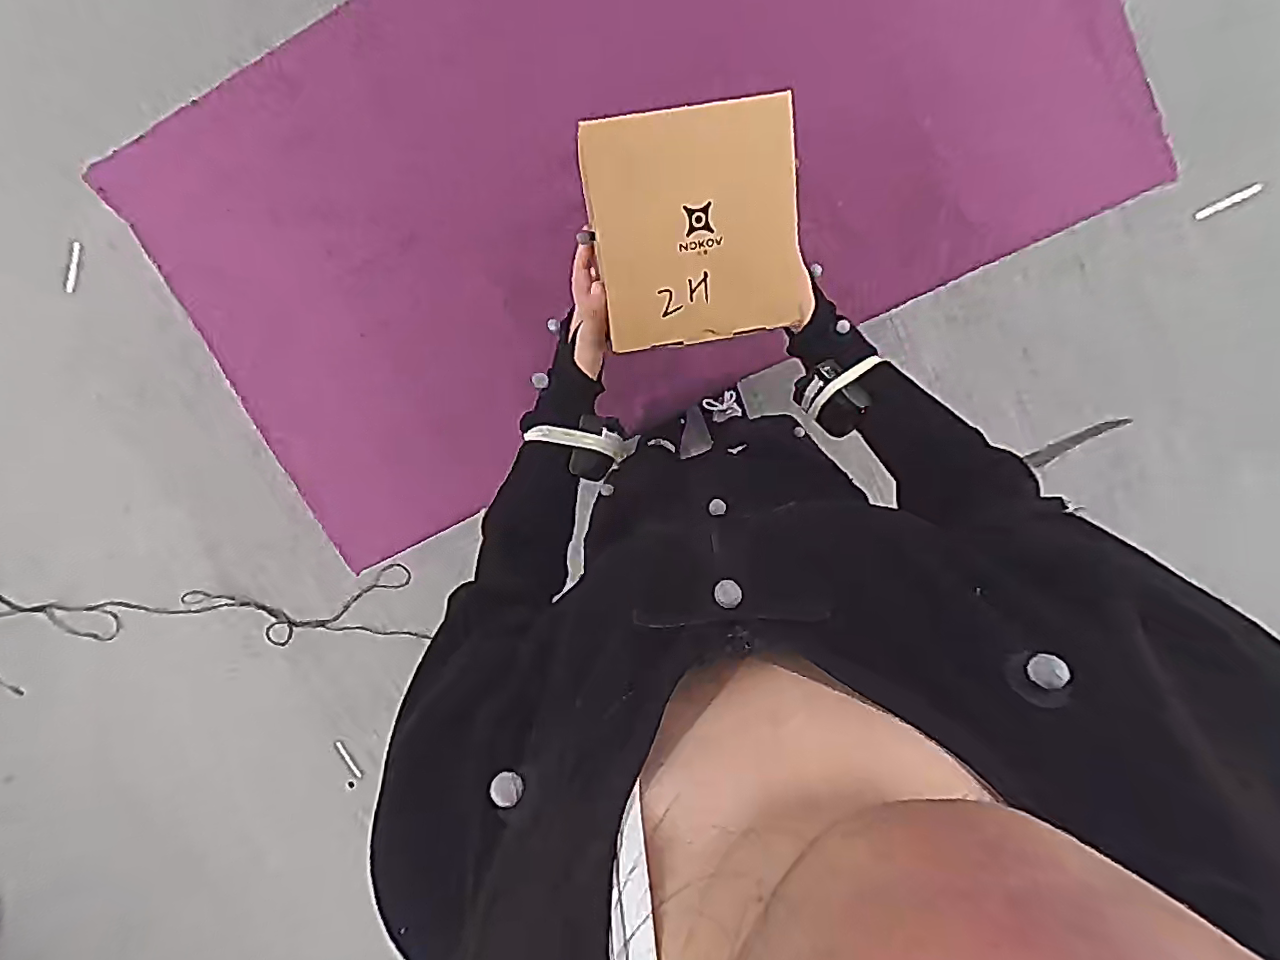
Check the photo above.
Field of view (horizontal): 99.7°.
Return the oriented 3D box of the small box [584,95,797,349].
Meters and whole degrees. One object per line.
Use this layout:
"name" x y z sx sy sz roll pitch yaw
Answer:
"small box" 0.039 -0.230 0.514 0.168 0.176 0.179 -9 110 -2
